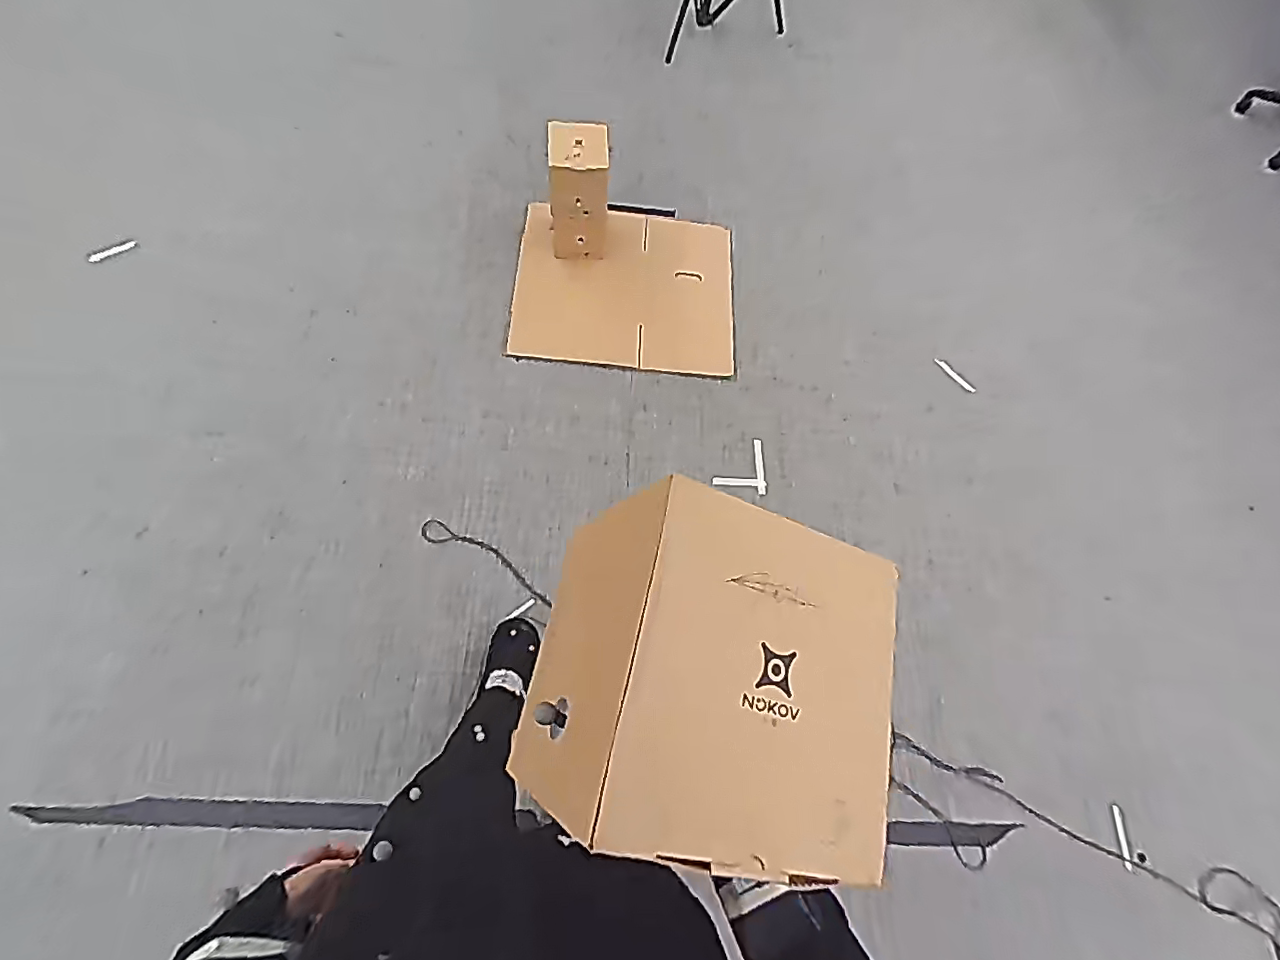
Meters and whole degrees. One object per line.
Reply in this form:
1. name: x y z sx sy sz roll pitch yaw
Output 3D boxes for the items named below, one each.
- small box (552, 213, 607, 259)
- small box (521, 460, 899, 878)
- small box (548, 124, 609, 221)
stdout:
1. small box: -0.194 -0.823 1.710 0.168 0.176 0.179 -2 70 -8
2. small box: 0.035 0.115 0.347 0.168 0.176 0.179 22 66 -20
3. small box: -0.179 -0.883 1.558 0.168 0.176 0.179 -1 69 -7
